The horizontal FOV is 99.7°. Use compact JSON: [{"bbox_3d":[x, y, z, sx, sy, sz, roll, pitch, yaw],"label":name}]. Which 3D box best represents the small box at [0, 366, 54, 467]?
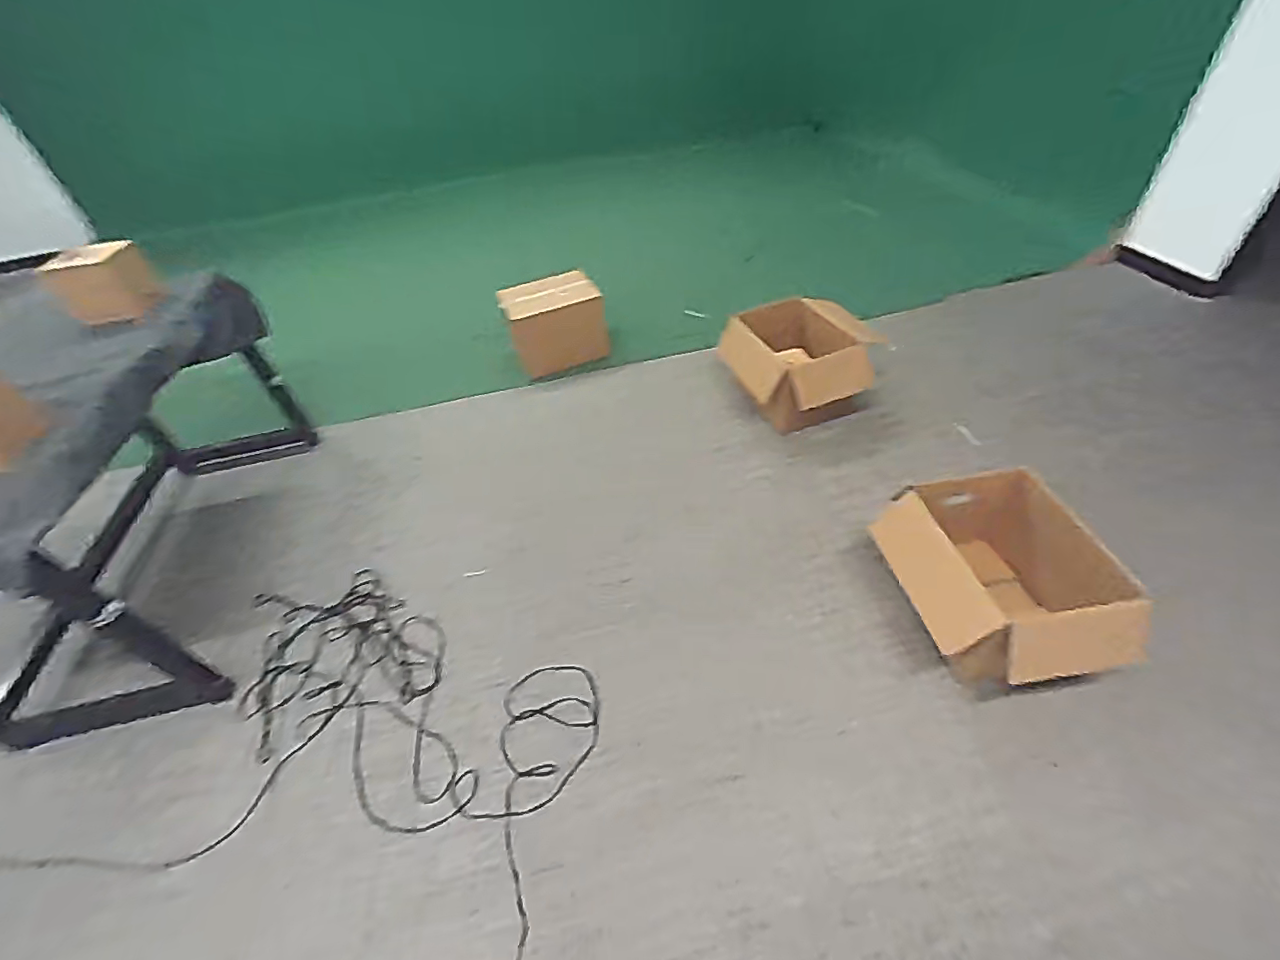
[{"bbox_3d":[-1.404,-0.127,1.120,0.168,0.176,0.179,-10,43,-4],"label":"small box"}]
